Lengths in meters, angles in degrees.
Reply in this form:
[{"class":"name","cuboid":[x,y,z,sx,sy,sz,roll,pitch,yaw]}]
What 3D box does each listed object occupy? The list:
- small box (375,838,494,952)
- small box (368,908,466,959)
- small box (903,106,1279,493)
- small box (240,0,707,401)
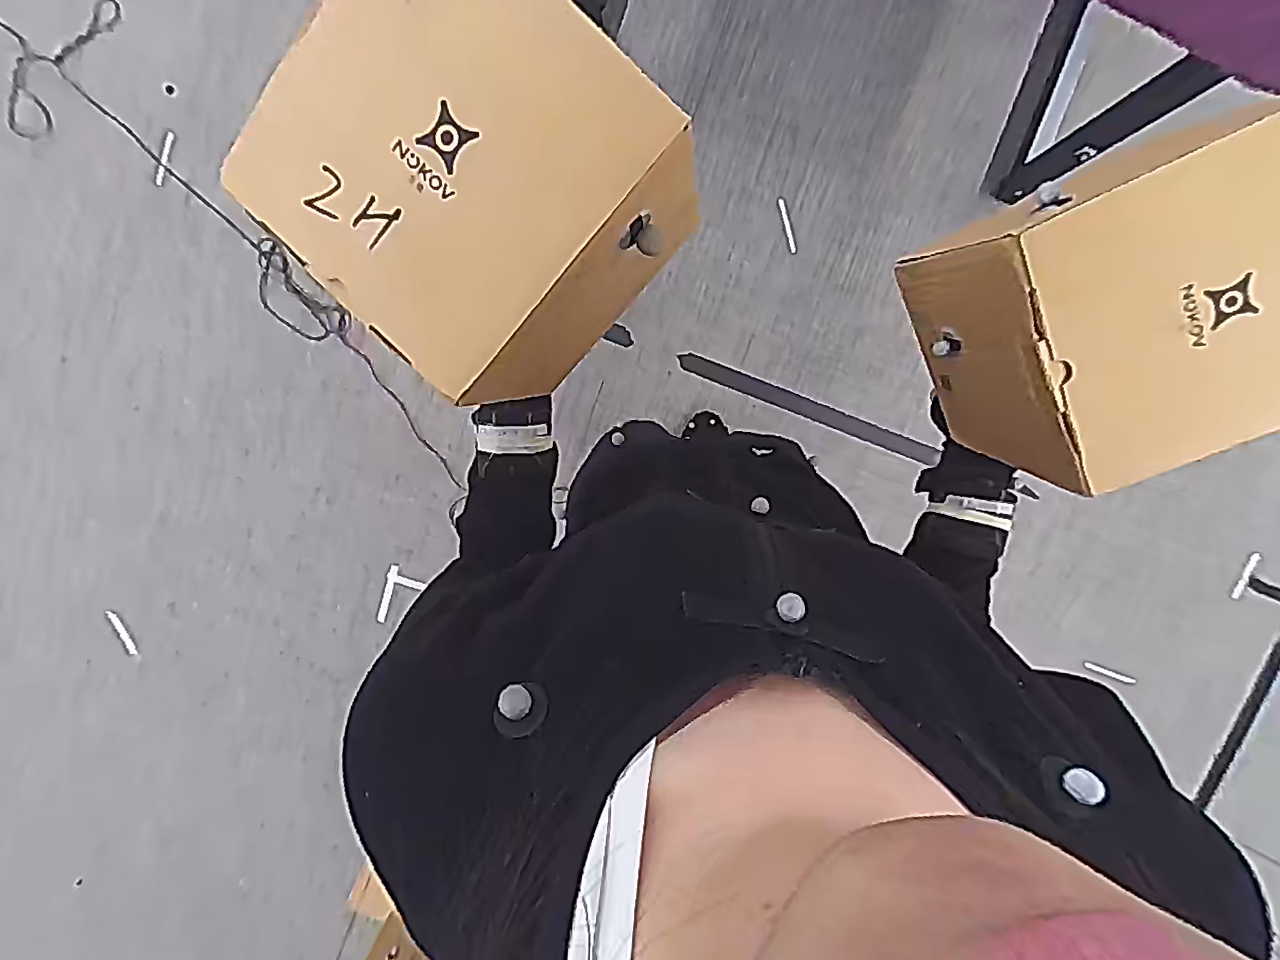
[{"class":"small box","cuboid":[-0.460,0.973,1.237,0.179,0.176,0.168,28,96,-2]},{"class":"small box","cuboid":[-0.463,1.010,1.078,0.168,0.176,0.179,13,98,0]},{"class":"small box","cuboid":[0.319,-0.119,0.372,0.179,0.176,0.168,-25,104,11]},{"class":"small box","cuboid":[-0.076,-0.171,0.333,0.168,0.176,0.179,44,104,-2]}]
